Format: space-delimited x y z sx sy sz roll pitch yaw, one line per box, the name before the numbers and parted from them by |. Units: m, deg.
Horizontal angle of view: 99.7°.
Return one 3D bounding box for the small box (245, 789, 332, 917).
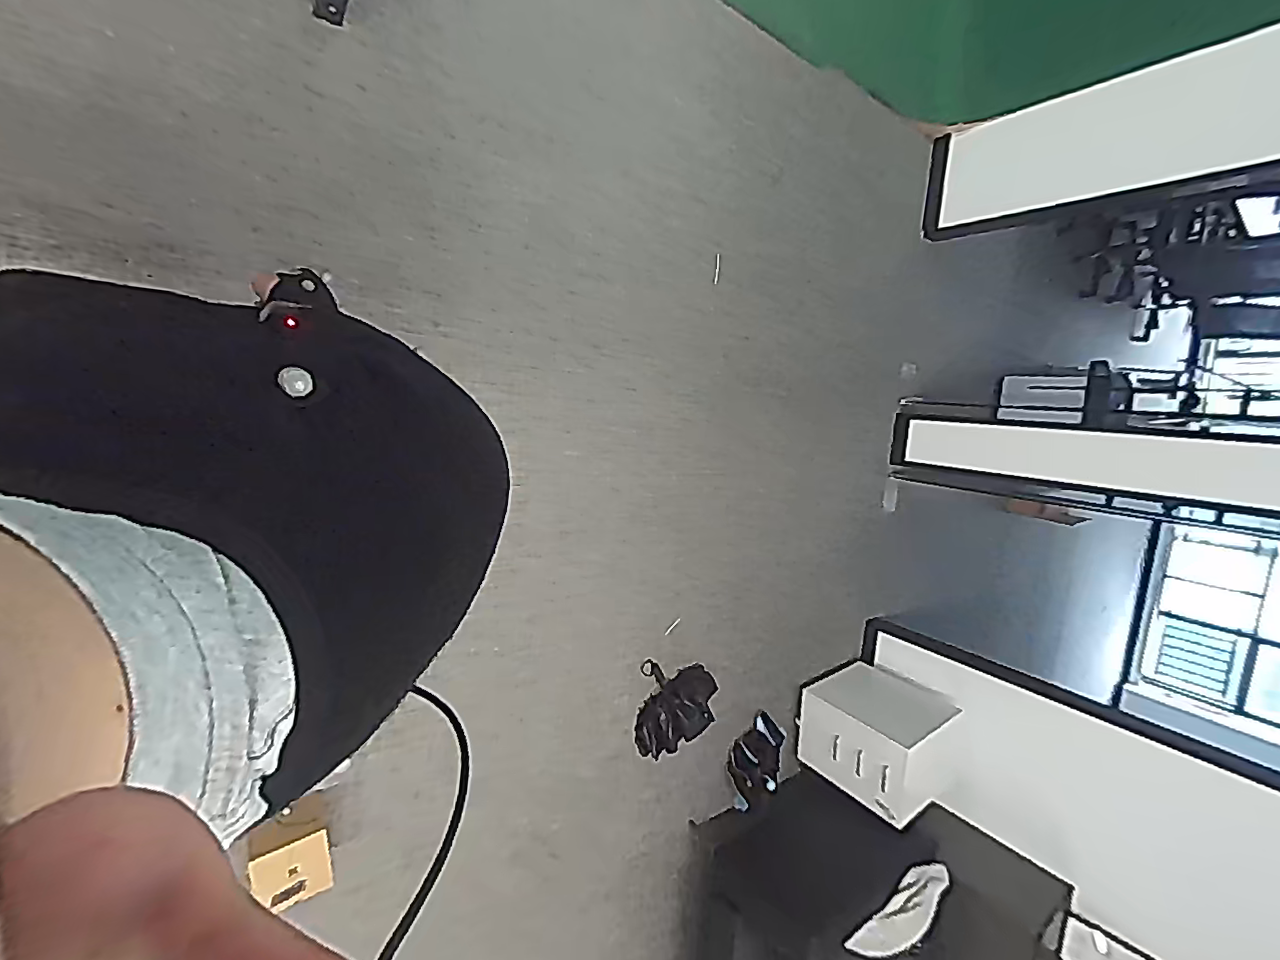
small box | -0.912 0.956 1.403 0.168 0.176 0.179 -10 104 -36
